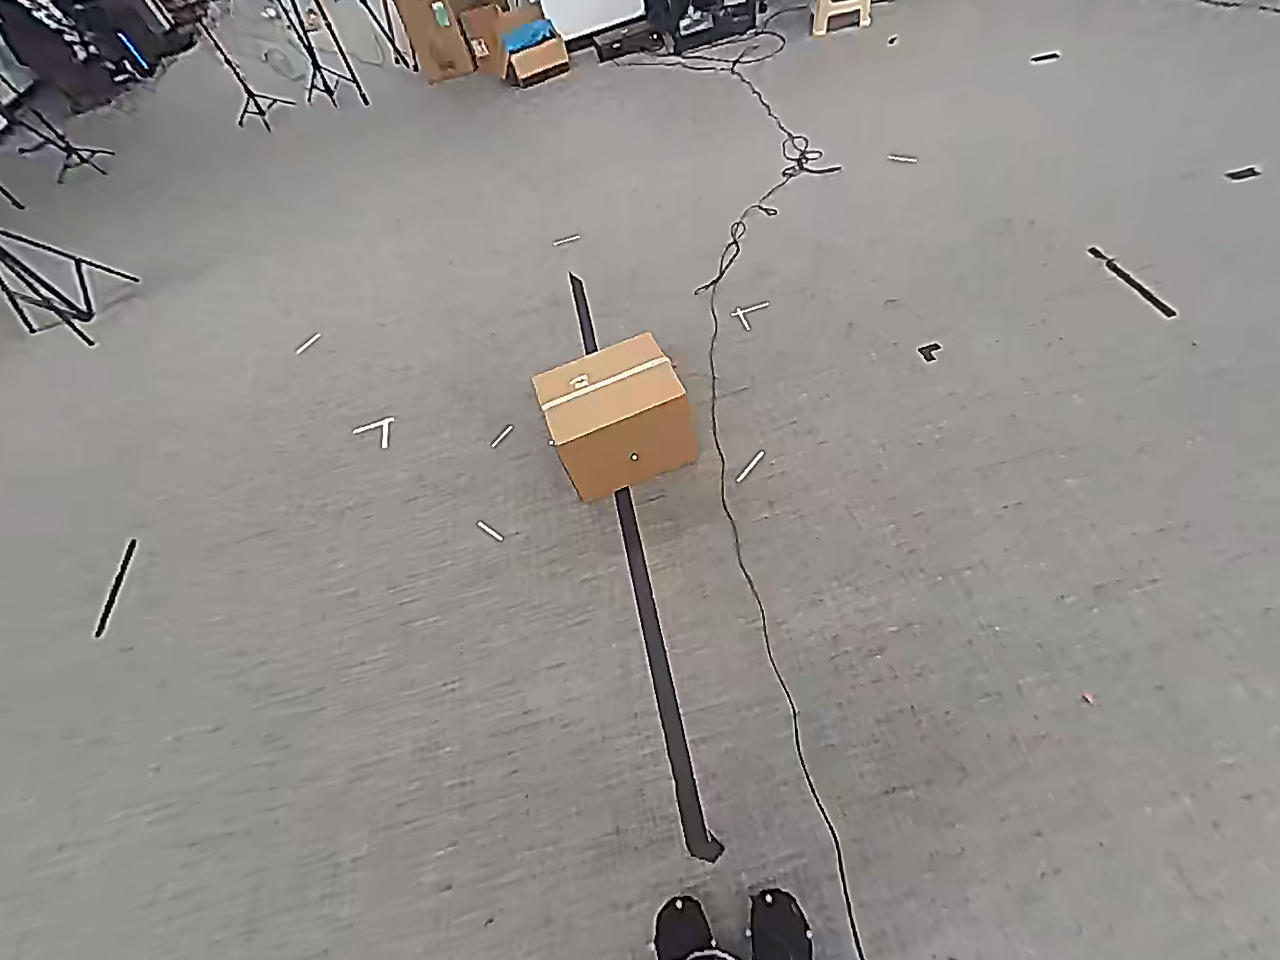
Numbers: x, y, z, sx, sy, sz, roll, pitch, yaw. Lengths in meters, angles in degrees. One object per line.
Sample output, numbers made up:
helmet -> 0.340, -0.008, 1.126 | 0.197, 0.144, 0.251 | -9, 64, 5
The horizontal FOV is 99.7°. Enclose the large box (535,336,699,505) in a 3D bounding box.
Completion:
large box -> -0.067, -0.183, 1.725 | 0.408, 0.320, 0.320 | -23, 52, -2
